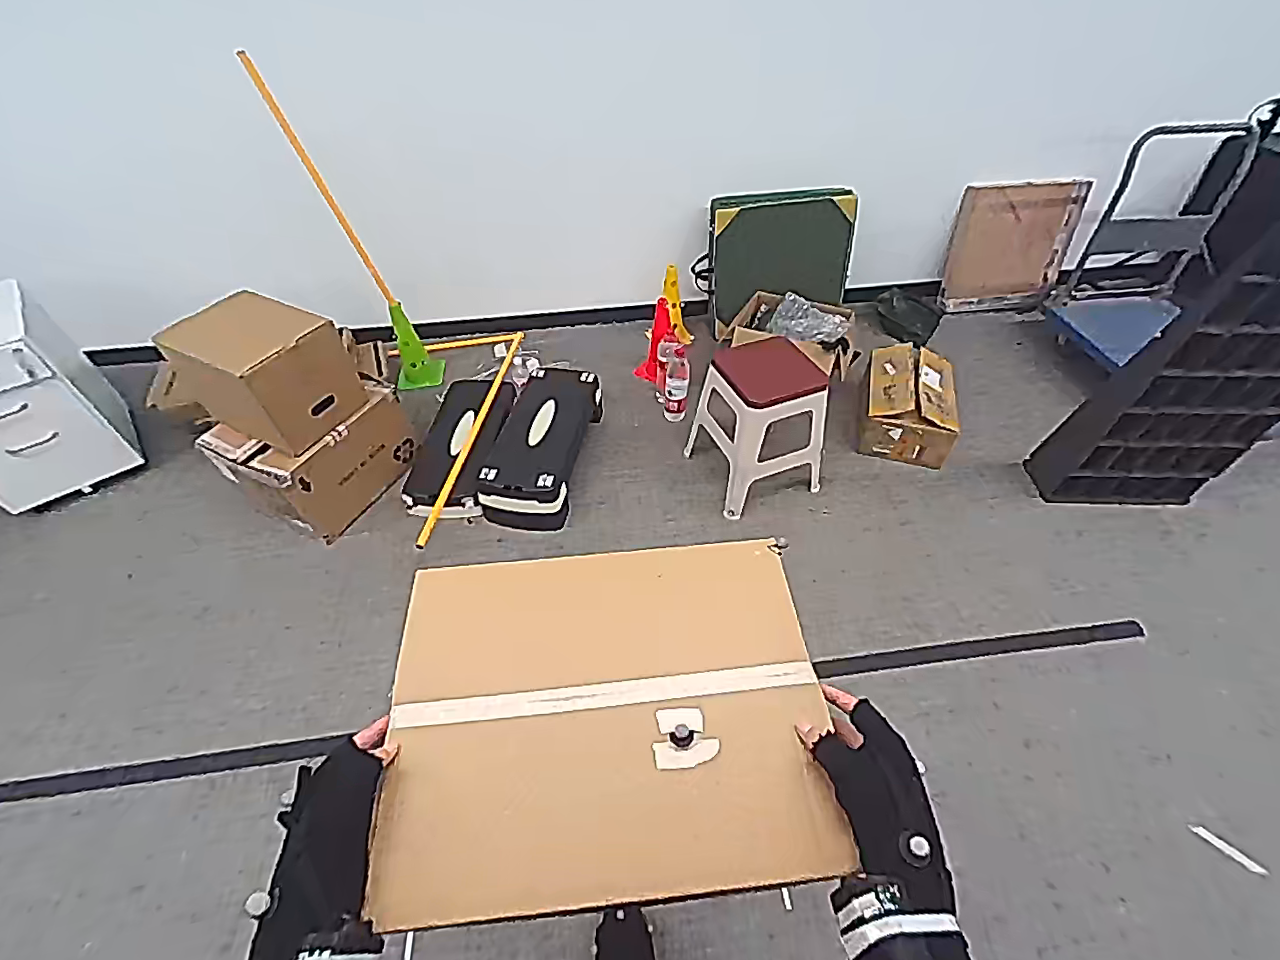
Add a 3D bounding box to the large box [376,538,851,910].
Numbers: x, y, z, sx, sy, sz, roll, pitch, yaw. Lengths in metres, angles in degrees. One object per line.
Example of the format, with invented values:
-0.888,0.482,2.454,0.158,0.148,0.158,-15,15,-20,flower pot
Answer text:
-0.031,0.296,0.650,0.408,0.320,0.320,-4,52,-3,large box
